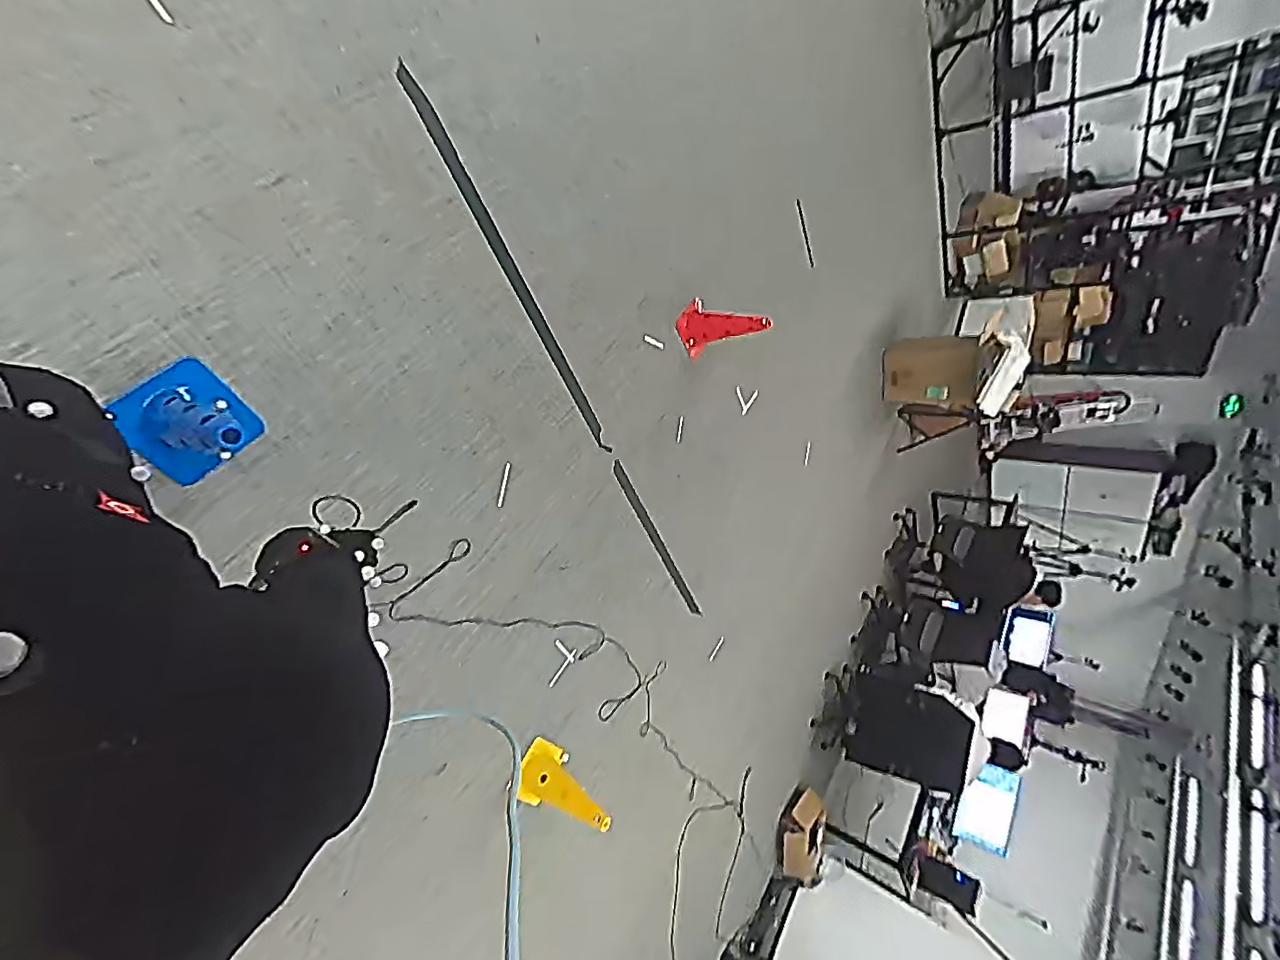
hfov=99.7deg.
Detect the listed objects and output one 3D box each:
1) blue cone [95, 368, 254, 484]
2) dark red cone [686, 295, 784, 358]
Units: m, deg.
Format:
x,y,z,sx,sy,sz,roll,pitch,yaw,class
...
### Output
x,y,z,sx,sy,sz,roll,pitch,yaw,class
-0.787,-0.082,0.964,0.192,0.380,0.193,-50,131,-29,blue cone
0.388,-0.619,2.161,0.201,0.394,0.202,-57,135,-23,dark red cone
